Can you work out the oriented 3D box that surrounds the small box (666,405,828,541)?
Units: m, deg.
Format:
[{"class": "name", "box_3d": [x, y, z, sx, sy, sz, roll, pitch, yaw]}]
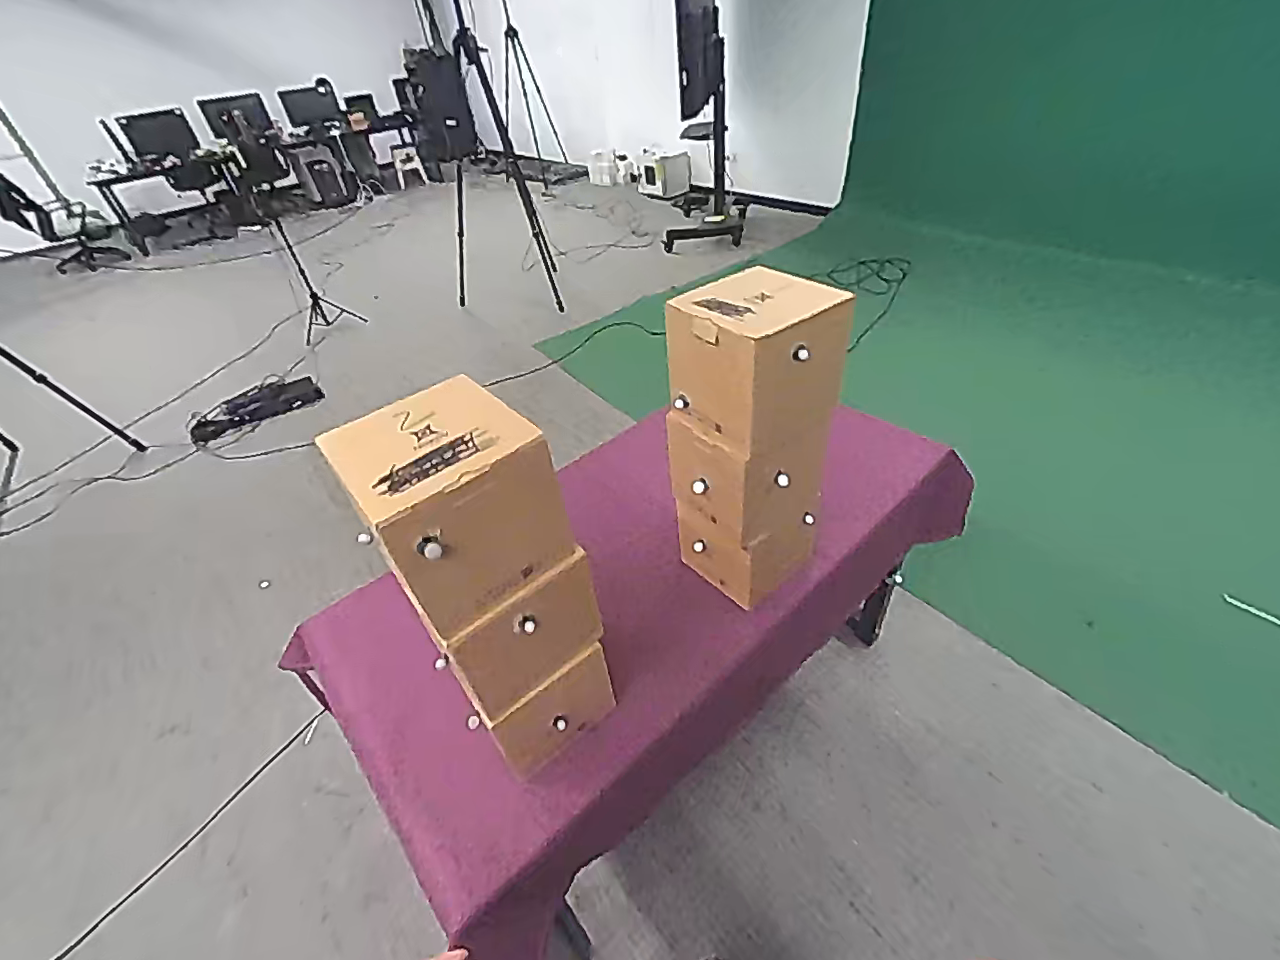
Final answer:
[{"class": "small box", "box_3d": [0.163, -0.038, 0.830, 0.179, 0.176, 0.168, -30, 45, -23]}]

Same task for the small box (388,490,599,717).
[{"class": "small box", "box_3d": [-0.170, 0.150, 0.667, 0.179, 0.176, 0.168, -32, 47, -26]}]

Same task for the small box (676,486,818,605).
[{"class": "small box", "box_3d": [0.185, 0.083, 0.940, 0.179, 0.176, 0.168, -32, 46, -26]}]

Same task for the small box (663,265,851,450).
[{"class": "small box", "box_3d": [0.153, -0.165, 0.726, 0.179, 0.176, 0.168, -28, 44, -24]}]

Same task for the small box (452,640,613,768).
[{"class": "small box", "box_3d": [-0.156, 0.275, 0.770, 0.168, 0.176, 0.179, -31, 45, -25]}]
